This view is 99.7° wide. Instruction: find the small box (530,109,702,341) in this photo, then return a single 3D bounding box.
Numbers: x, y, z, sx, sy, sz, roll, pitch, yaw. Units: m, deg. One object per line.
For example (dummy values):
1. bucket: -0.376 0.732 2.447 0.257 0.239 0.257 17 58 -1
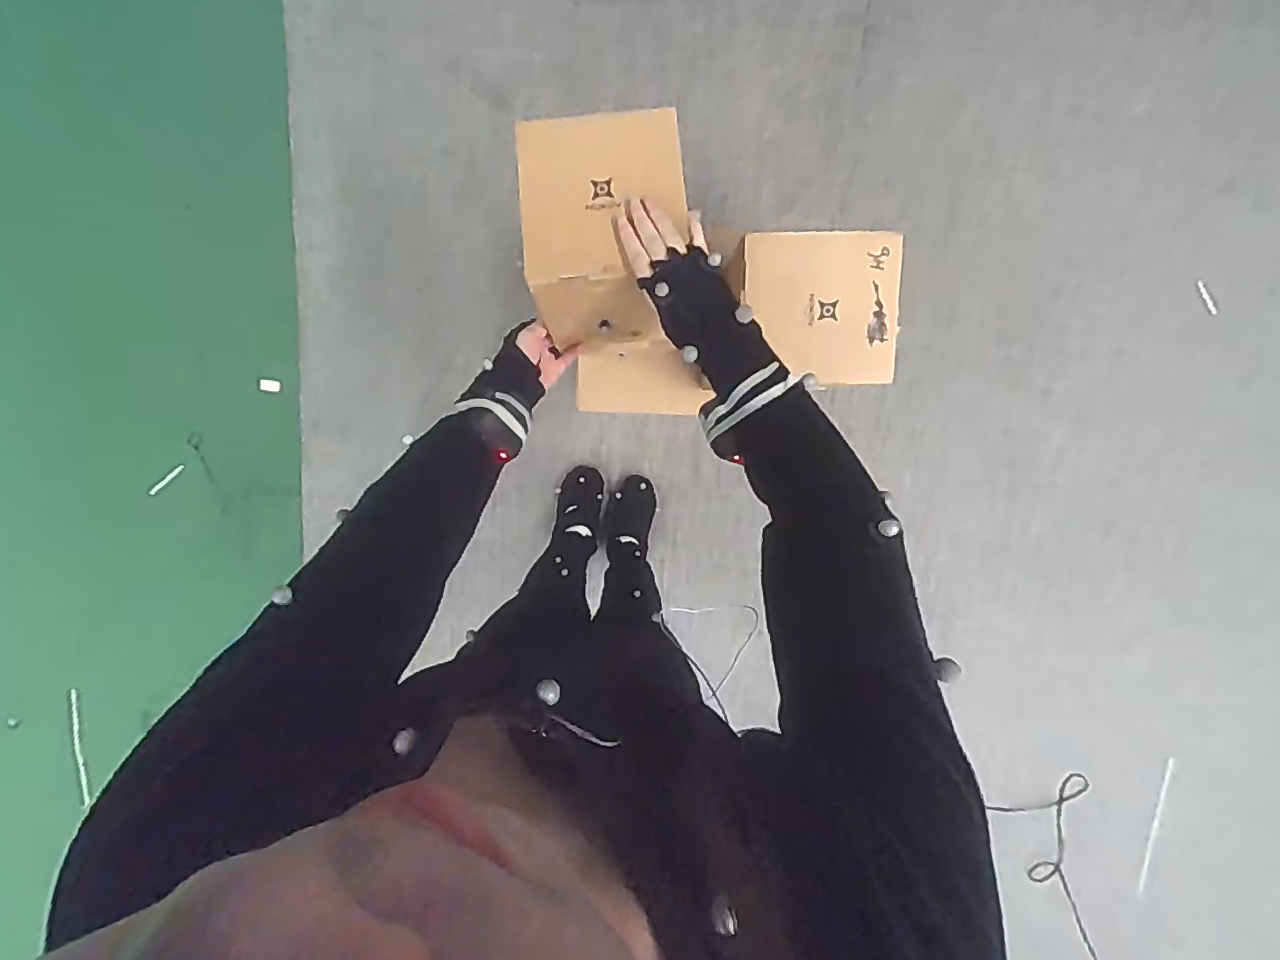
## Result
1. small box: -0.026 -0.279 0.621 0.168 0.176 0.179 -5 83 0
